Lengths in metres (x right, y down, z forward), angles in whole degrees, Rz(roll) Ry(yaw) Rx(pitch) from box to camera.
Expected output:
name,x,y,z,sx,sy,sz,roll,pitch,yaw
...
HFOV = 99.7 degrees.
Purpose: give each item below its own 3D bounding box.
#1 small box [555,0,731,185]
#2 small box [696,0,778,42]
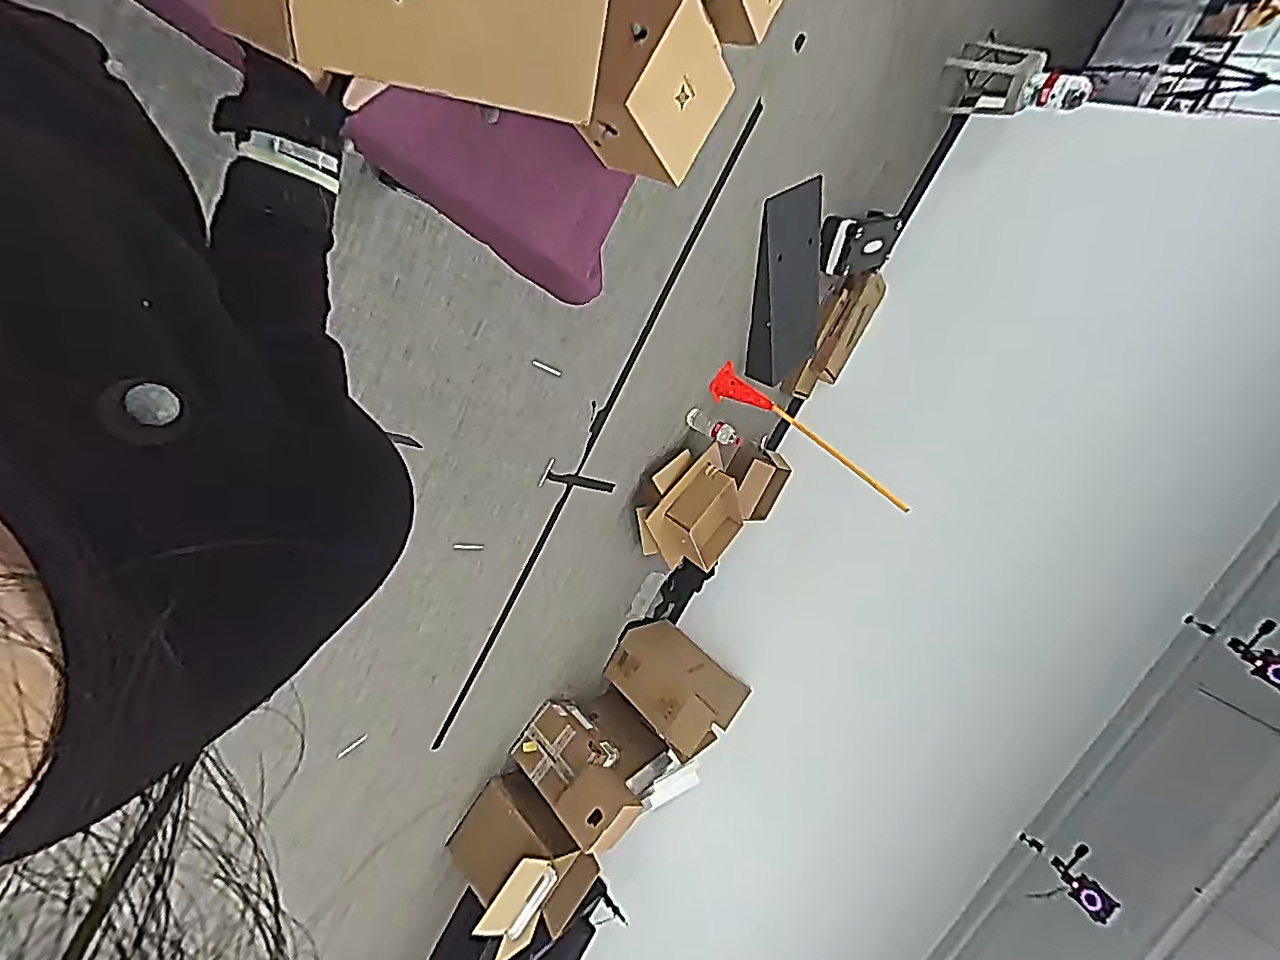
name,x,y,z,sx,sy,sz,roll,pitch,yaw
small box,0.000,-0.585,0.810,0.179,0.176,0.168,-60,149,4
small box,0.109,-0.776,0.771,0.179,0.176,0.168,15,107,-59
